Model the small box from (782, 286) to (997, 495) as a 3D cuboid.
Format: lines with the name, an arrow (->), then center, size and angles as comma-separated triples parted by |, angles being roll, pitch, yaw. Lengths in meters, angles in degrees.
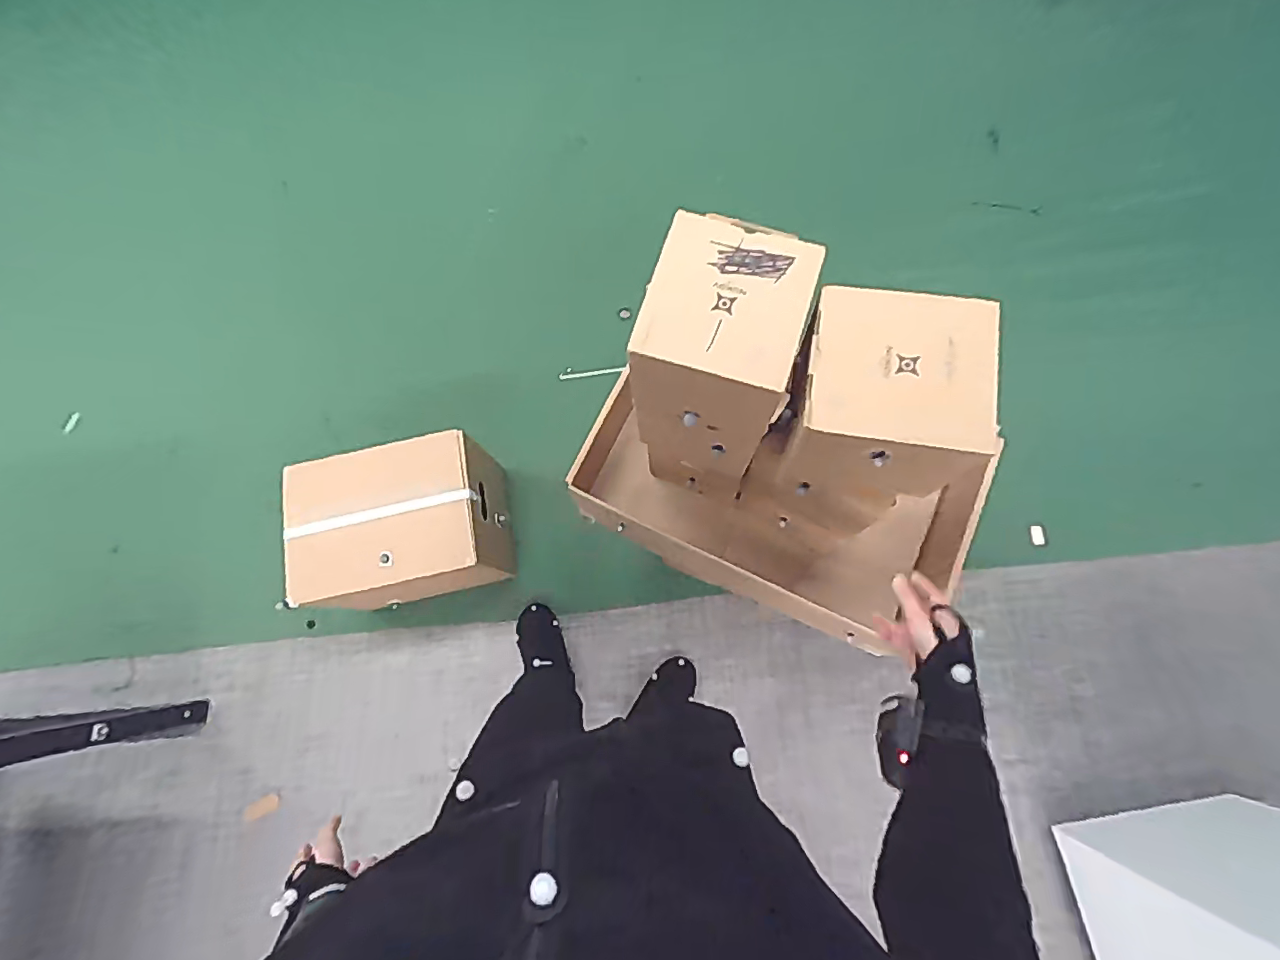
small box -> 0.266, -0.091, 0.612 | 0.179, 0.176, 0.168 | 10, 75, 9
